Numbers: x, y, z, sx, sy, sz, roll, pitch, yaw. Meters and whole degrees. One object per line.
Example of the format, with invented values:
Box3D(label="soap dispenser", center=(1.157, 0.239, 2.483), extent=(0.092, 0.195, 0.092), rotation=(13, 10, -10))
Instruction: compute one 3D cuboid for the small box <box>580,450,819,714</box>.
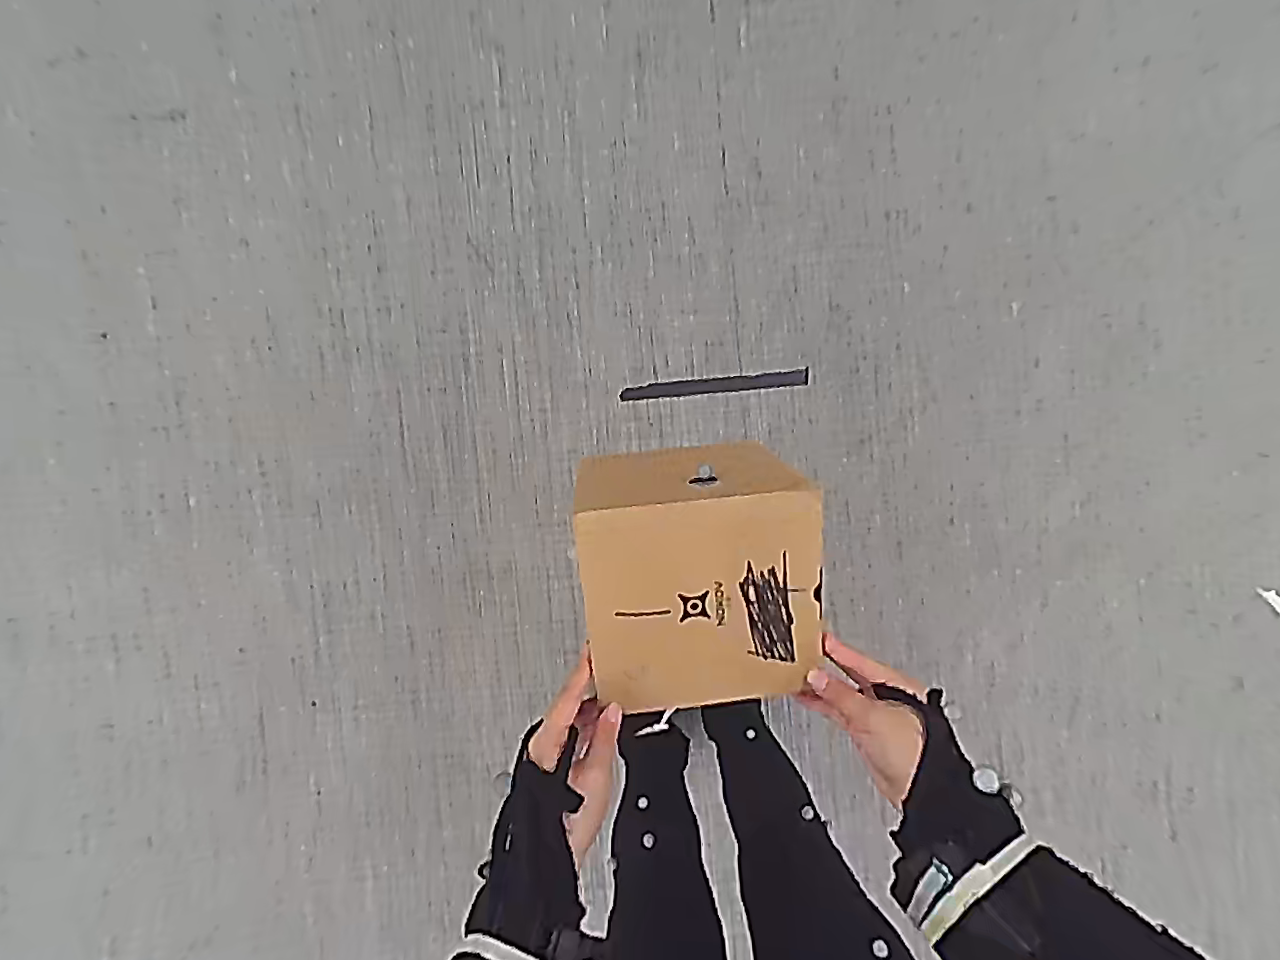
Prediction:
Box3D(label="small box", center=(0.042, 0.074, 0.480), extent=(0.179, 0.176, 0.168), rotation=(-6, 105, -3))
